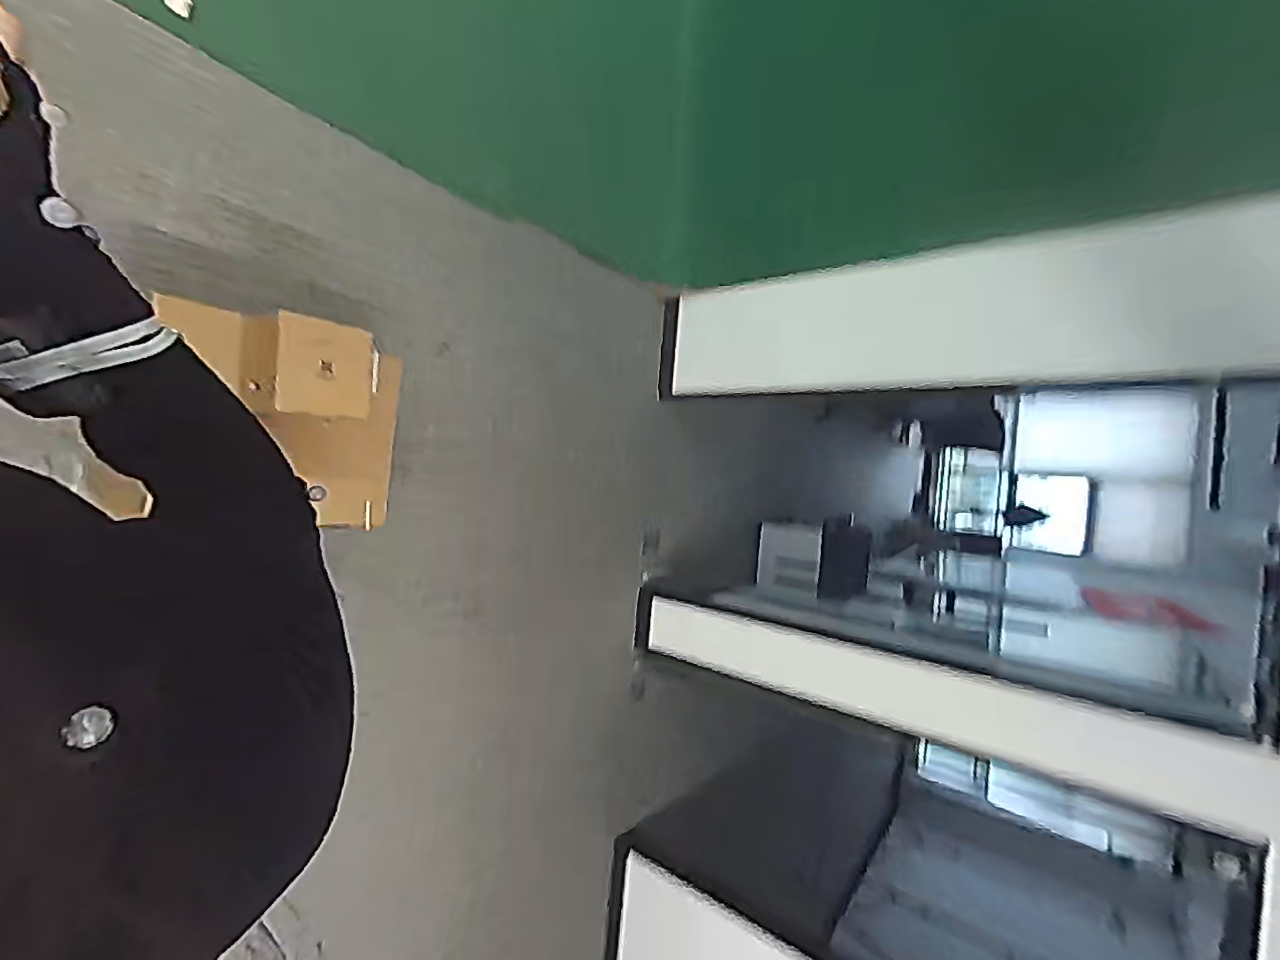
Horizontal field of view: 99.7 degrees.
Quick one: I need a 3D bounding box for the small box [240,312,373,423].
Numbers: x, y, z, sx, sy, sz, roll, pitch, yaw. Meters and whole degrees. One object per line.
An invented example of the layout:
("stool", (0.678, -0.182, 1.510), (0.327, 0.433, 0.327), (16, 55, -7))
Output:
("small box", (-0.643, -0.207, 1.042), (0.168, 0.176, 0.179), (3, 91, -55))
